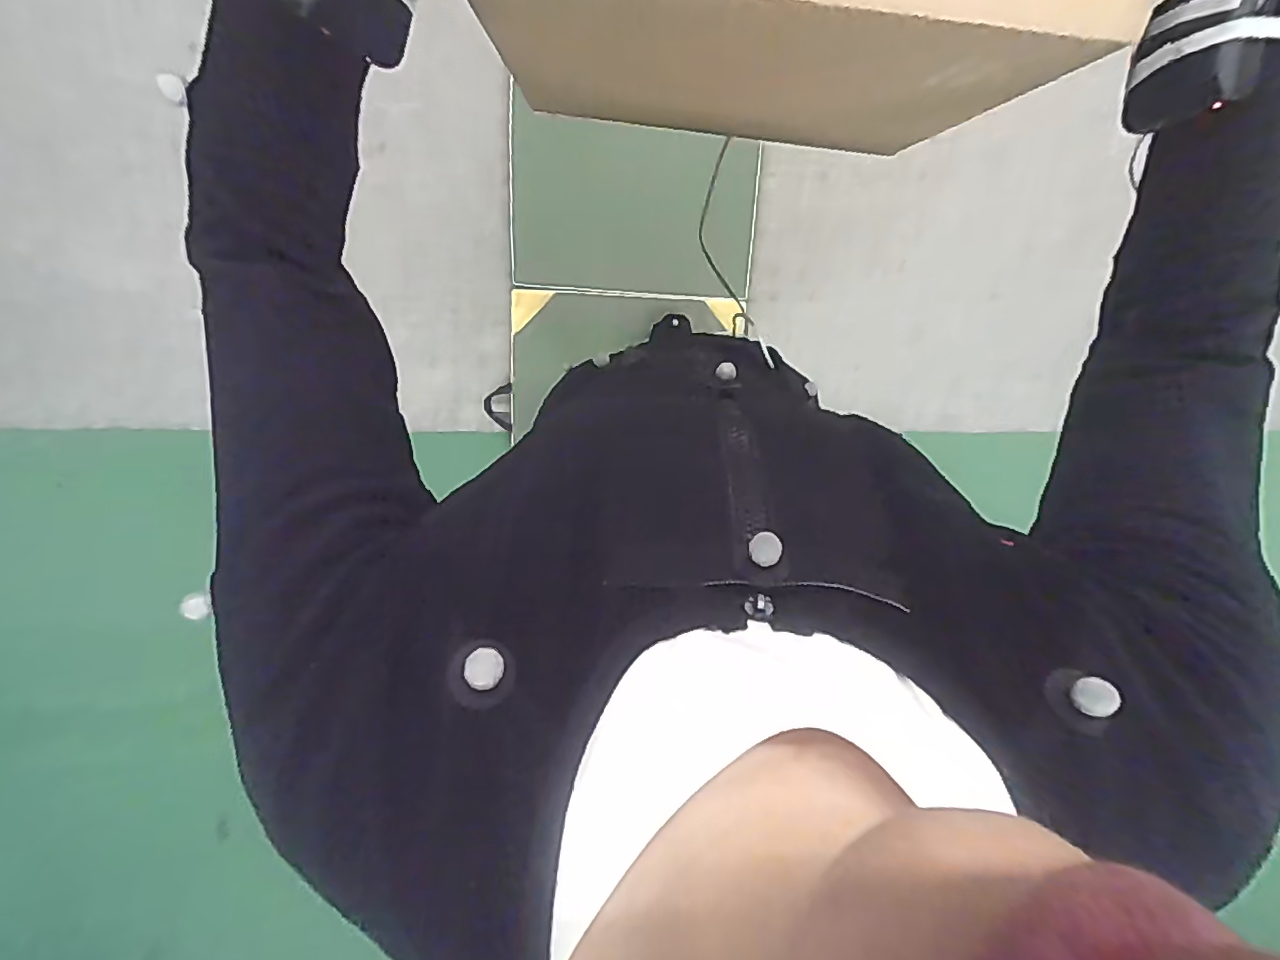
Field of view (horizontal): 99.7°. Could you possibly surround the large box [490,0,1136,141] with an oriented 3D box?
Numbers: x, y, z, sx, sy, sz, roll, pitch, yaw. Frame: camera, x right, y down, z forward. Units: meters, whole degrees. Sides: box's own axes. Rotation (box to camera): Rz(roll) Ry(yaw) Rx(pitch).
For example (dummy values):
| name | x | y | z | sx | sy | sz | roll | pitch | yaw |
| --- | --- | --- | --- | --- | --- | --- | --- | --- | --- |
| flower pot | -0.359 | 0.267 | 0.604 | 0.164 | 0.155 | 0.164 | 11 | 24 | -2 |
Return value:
| name | x | y | z | sx | sy | sz | roll | pitch | yaw |
| --- | --- | --- | --- | --- | --- | --- | --- | --- | --- |
| large box | 0.100 | -0.477 | 0.399 | 0.408 | 0.320 | 0.320 | 4 | 111 | -4 |
